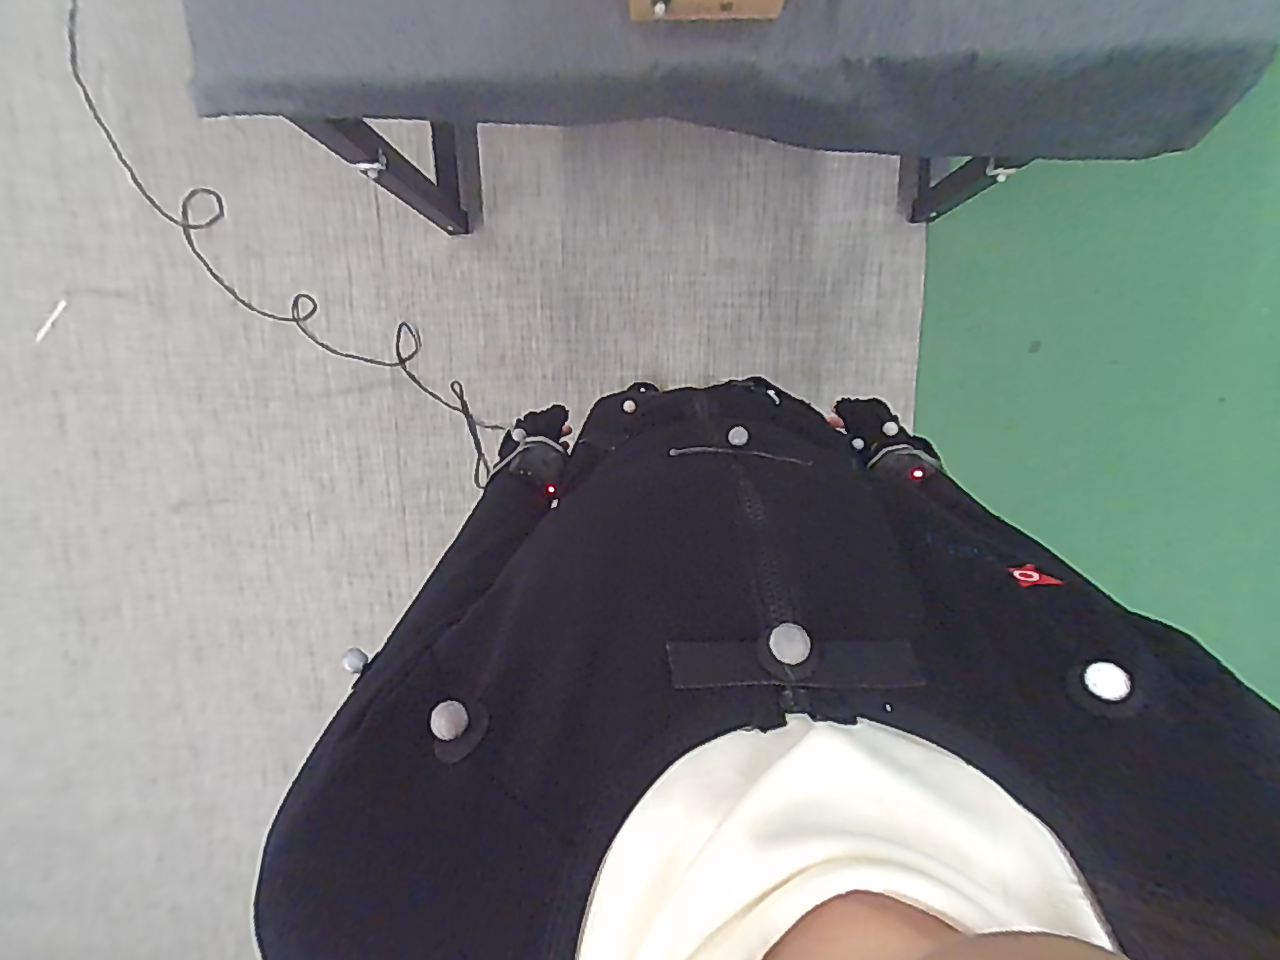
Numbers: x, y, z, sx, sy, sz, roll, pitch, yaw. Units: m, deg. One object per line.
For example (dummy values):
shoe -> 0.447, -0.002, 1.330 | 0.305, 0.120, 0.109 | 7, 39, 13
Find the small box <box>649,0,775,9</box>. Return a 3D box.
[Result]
small box -> 0.072, -0.598, 0.516 | 0.168, 0.176, 0.179 | 1, 98, 1
